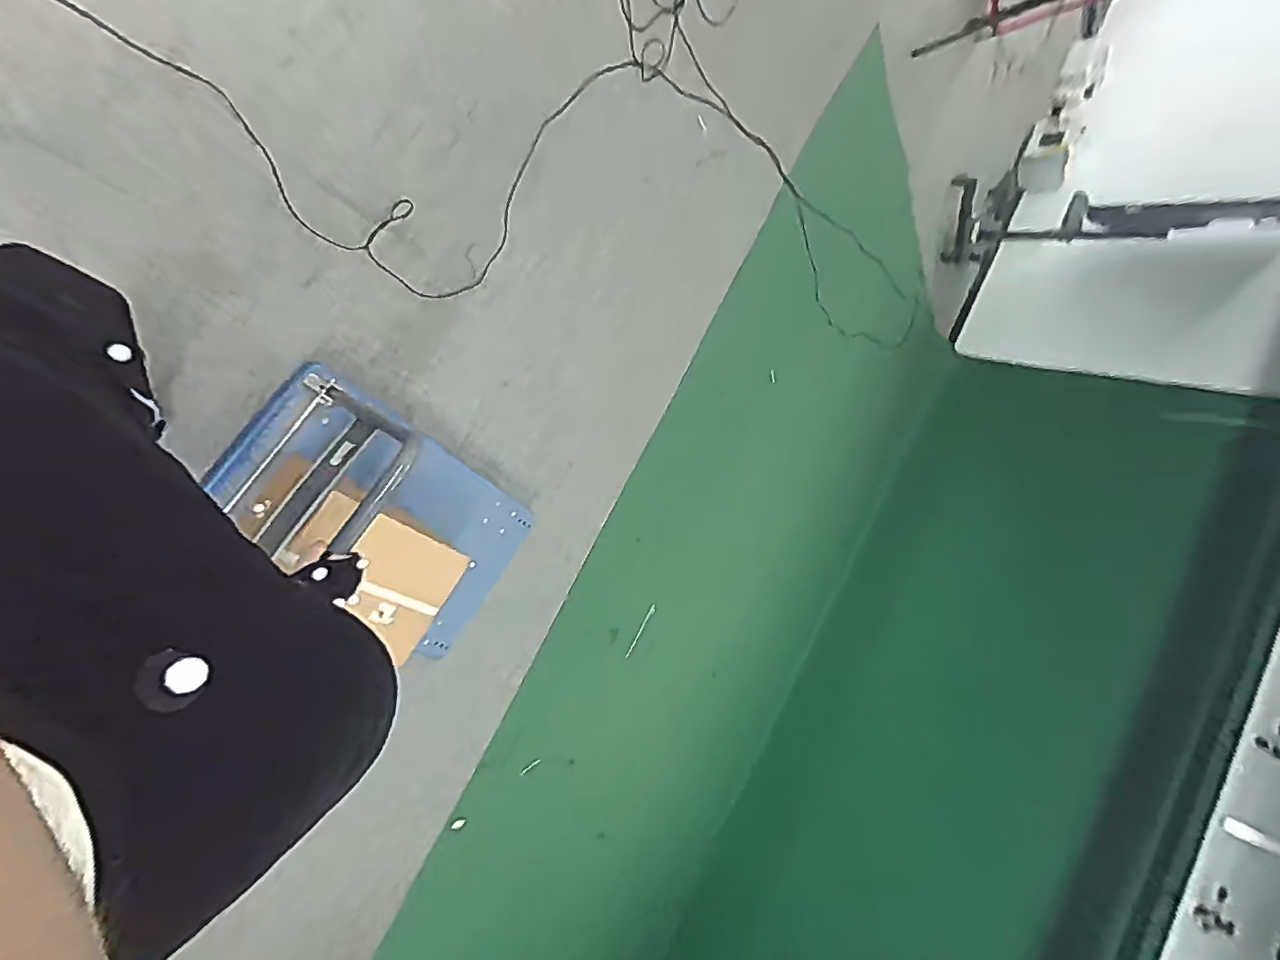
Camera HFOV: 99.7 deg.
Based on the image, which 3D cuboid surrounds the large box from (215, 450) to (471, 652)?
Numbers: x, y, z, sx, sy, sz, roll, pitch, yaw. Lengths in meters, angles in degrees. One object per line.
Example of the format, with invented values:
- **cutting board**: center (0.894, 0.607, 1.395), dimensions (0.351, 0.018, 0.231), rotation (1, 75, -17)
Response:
- **large box**: center (-0.720, 0.177, 1.338), dimensions (0.320, 0.320, 0.408), rotation (-58, 139, -10)
